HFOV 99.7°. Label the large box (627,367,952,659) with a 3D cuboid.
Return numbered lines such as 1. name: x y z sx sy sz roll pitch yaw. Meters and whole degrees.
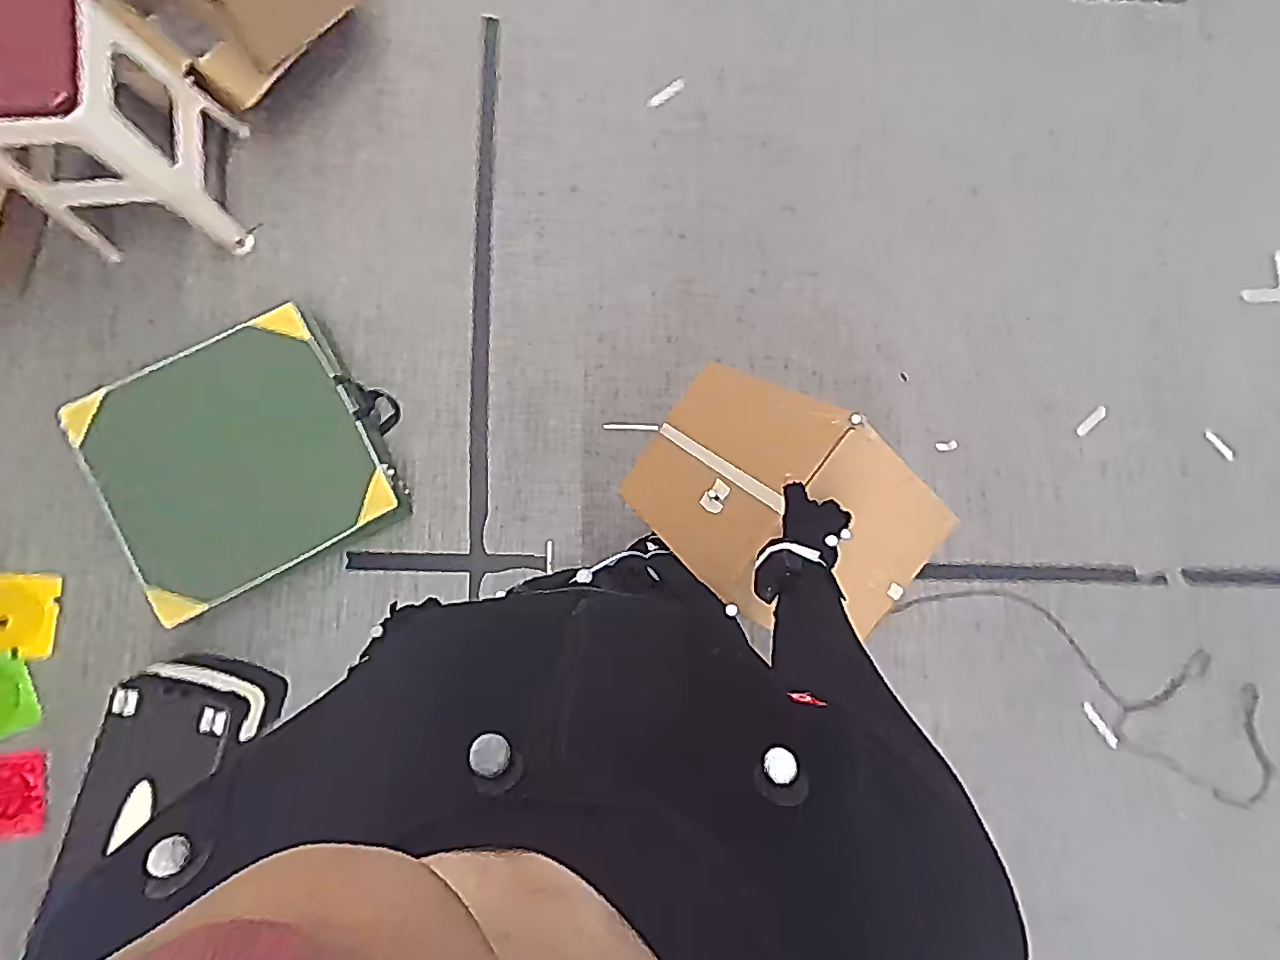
1. large box: 0.242 0.041 0.976 0.320 0.408 0.320 33 96 -32
